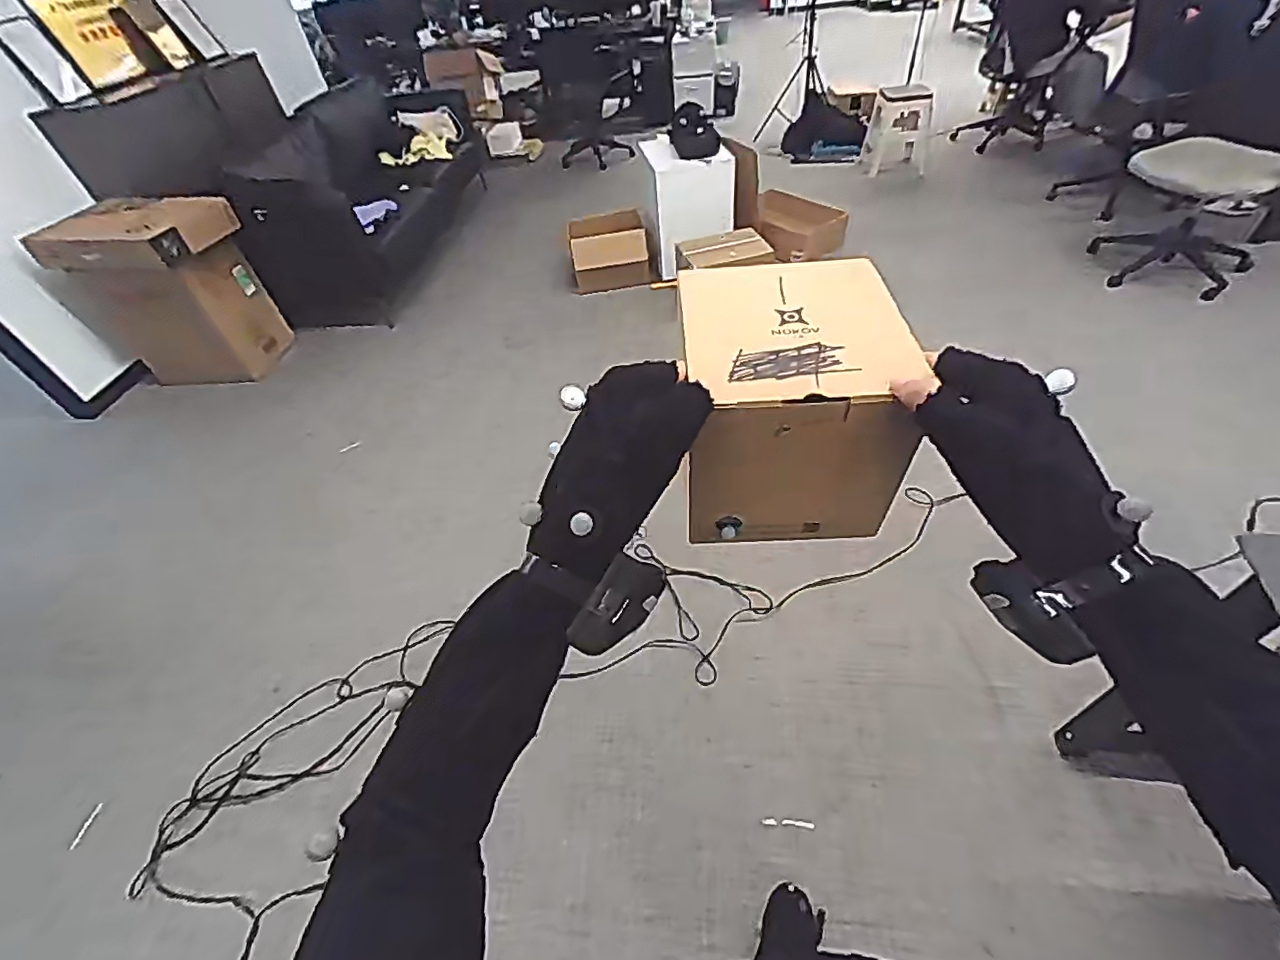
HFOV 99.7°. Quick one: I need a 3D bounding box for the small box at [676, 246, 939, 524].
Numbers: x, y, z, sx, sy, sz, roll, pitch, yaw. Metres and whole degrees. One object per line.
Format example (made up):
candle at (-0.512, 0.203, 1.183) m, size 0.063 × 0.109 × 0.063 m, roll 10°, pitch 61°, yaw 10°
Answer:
small box at (0.118, -0.073, 0.464) m, size 0.168 × 0.176 × 0.179 m, roll -3°, pitch 50°, yaw 2°
